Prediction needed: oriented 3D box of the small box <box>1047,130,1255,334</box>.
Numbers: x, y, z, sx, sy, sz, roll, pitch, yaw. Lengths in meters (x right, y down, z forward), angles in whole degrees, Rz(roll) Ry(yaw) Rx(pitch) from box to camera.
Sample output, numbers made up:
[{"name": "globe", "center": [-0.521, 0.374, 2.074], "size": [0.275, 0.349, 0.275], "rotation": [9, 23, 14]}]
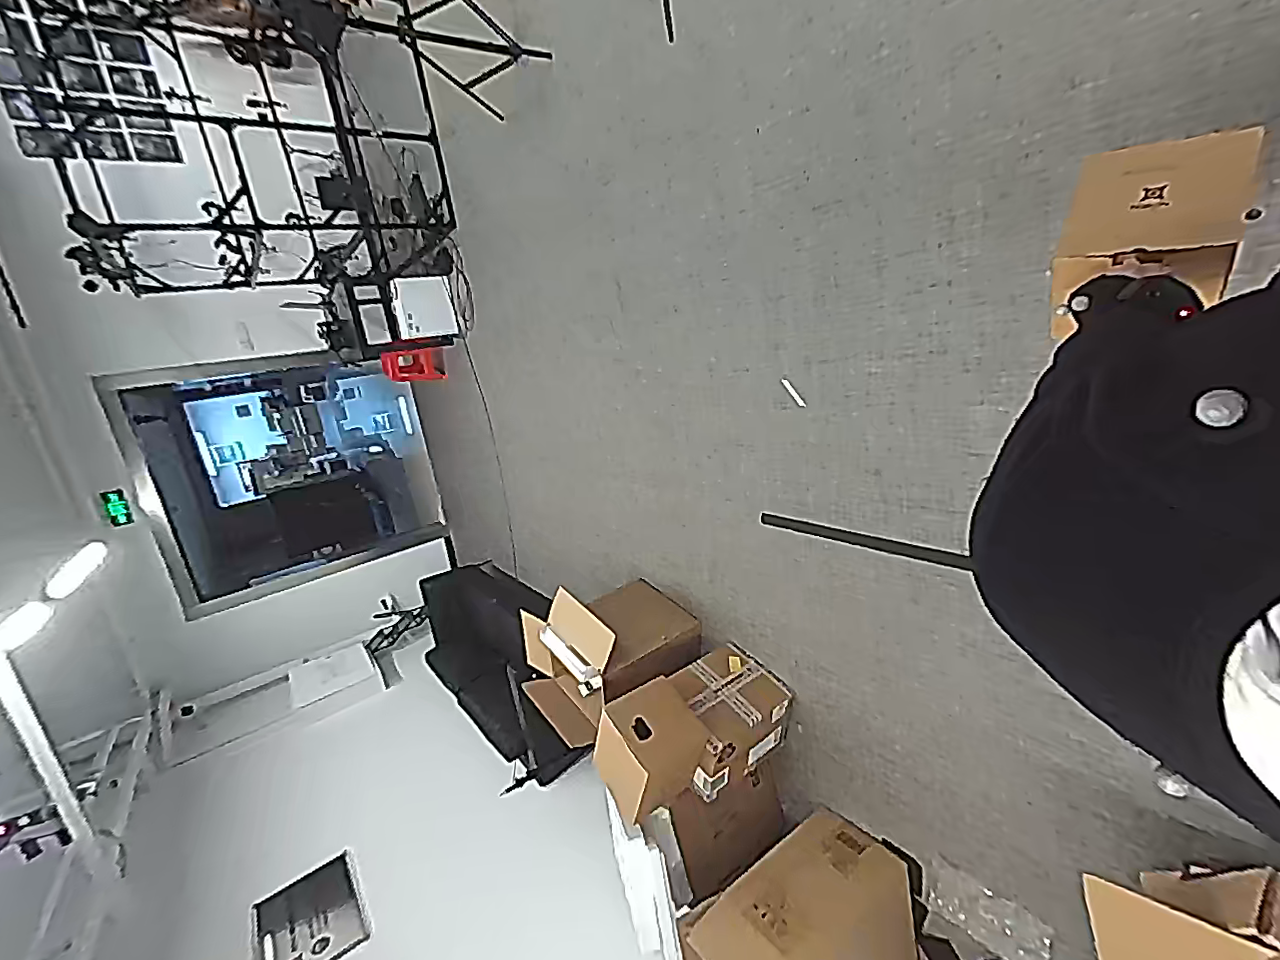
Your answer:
[{"name": "small box", "center": [0.662, -0.312, 0.720], "size": [0.168, 0.176, 0.179], "rotation": [13, 74, 39]}]
